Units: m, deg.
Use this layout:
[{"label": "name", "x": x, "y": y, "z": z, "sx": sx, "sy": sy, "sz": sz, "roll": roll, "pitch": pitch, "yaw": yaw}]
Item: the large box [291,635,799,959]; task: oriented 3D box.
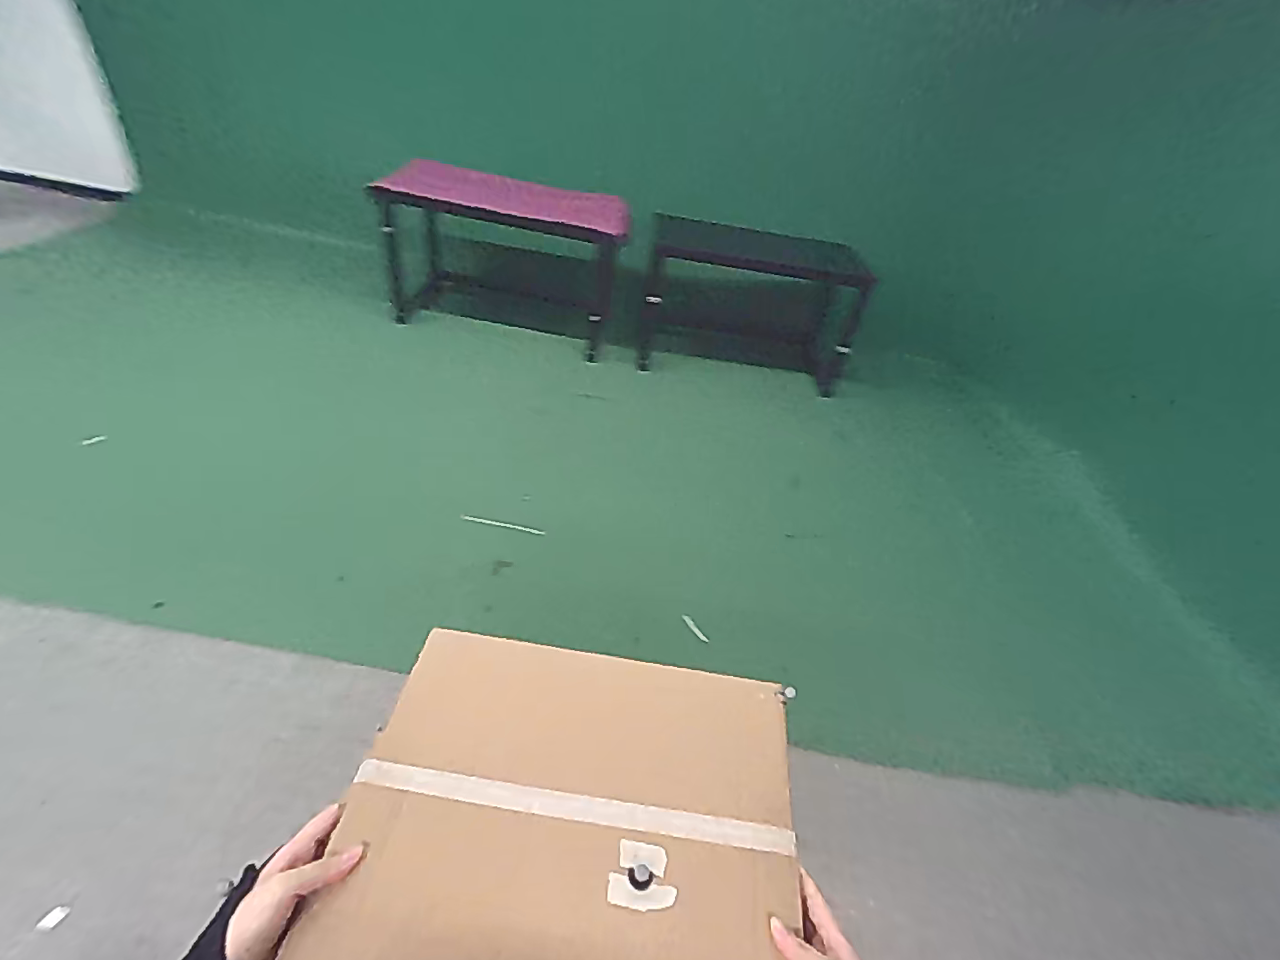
[{"label": "large box", "x": -0.075, "y": 0.414, "z": 0.607, "sx": 0.408, "sy": 0.320, "sz": 0.320, "roll": 8, "pitch": 42, "yaw": 0}]
